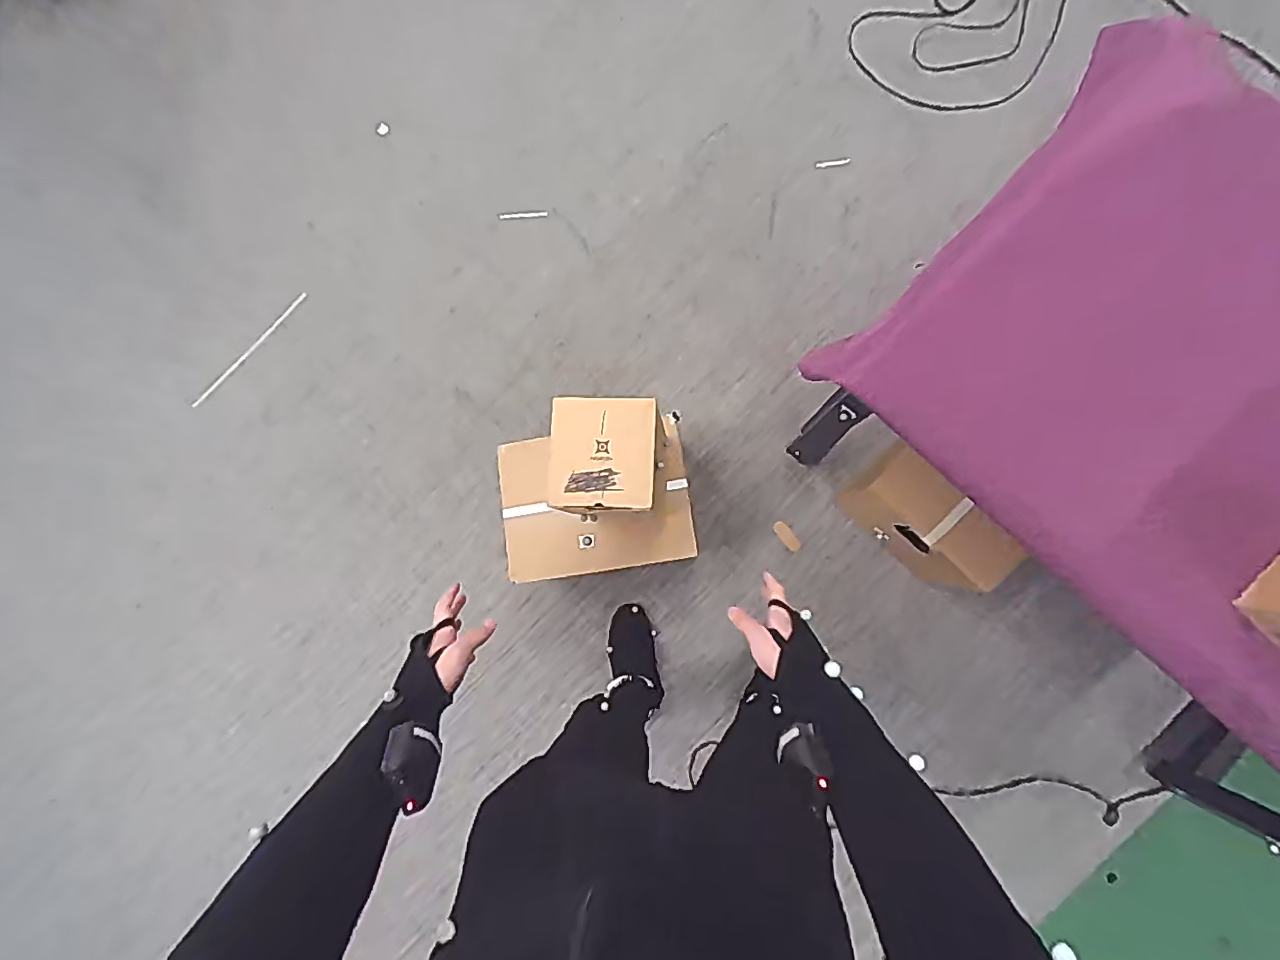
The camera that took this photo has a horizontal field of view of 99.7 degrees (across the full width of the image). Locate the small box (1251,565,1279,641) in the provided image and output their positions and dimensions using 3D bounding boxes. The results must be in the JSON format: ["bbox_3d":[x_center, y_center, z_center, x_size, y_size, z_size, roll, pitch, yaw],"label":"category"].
[{"bbox_3d":[0.805,0.132,0.538,0.179,0.176,0.168,-43,81,-1],"label":"small box"}]

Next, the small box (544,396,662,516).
[{"bbox_3d":[-0.052,-0.033,0.899,0.168,0.176,0.179,2,82,6],"label":"small box"}]

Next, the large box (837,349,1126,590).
[{"bbox_3d":[0.731,-0.007,1.230,0.408,0.320,0.320,-45,82,-1],"label":"large box"}]
